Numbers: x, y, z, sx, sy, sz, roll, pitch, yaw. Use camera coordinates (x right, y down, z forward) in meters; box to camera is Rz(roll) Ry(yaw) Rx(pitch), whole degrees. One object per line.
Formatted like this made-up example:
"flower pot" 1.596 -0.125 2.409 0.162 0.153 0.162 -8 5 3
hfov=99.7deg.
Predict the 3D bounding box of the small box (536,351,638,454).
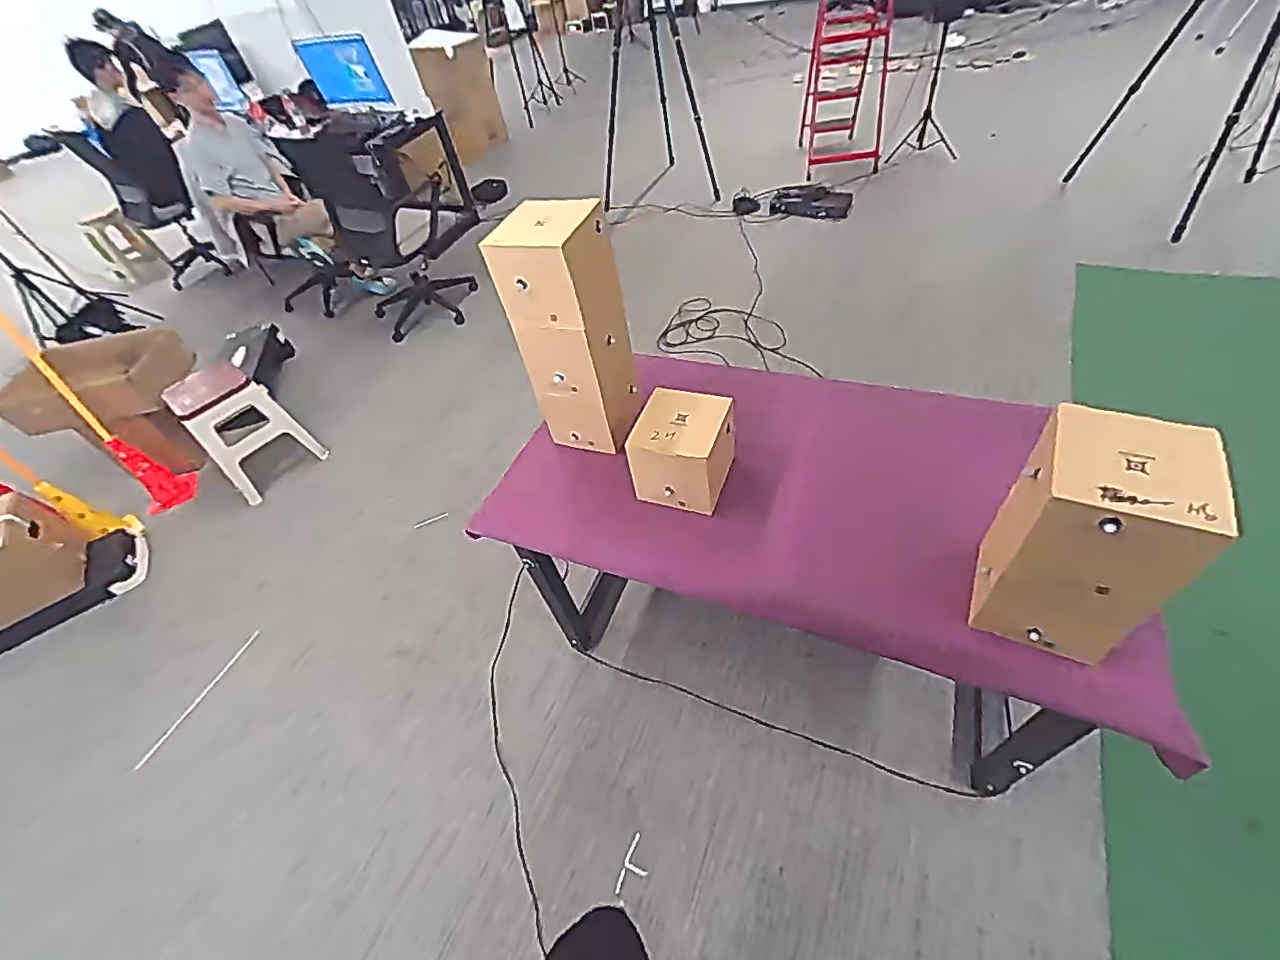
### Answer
"small box" -0.112 -0.188 1.255 0.168 0.176 0.179 11 53 20

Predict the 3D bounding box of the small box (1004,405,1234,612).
"small box" 0.594 0.035 0.696 0.168 0.176 0.179 16 53 25

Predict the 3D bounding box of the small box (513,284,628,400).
"small box" -0.134 -0.295 1.134 0.168 0.176 0.179 10 53 20

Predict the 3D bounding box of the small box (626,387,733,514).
"small box" 0.087 -0.061 1.104 0.168 0.176 0.179 12 53 21

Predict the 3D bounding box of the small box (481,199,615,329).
"small box" -0.160 -0.401 1.013 0.168 0.176 0.179 10 52 20
